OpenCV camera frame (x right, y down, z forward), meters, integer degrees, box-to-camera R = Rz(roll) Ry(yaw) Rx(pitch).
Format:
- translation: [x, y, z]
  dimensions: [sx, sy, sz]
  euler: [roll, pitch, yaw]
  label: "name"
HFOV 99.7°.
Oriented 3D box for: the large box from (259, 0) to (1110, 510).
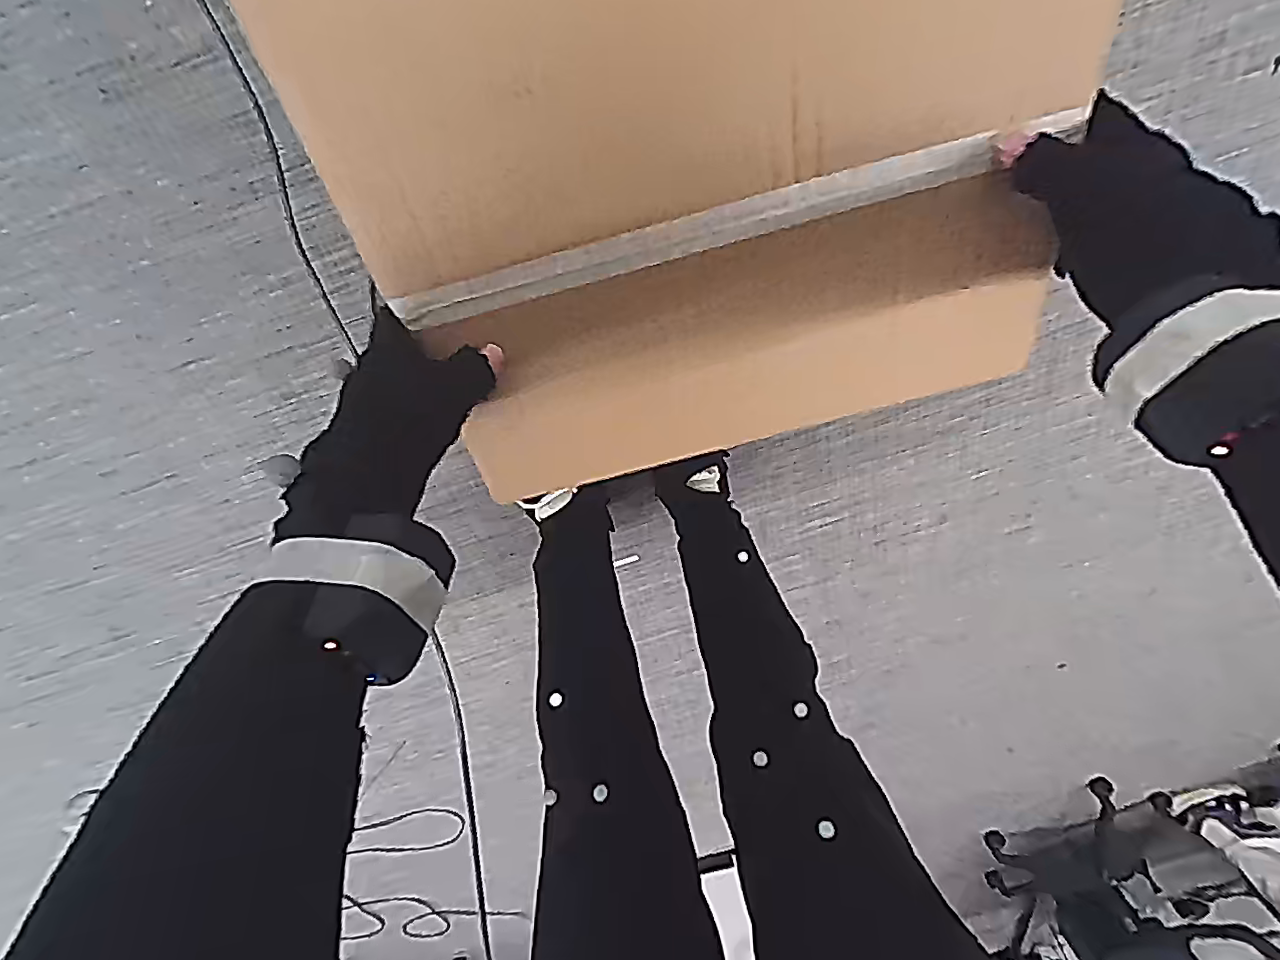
- translation: [0.034, -0.230, 0.434]
  dimensions: [0.408, 0.320, 0.320]
  euler: [-14, 130, 2]
  label: "large box"
